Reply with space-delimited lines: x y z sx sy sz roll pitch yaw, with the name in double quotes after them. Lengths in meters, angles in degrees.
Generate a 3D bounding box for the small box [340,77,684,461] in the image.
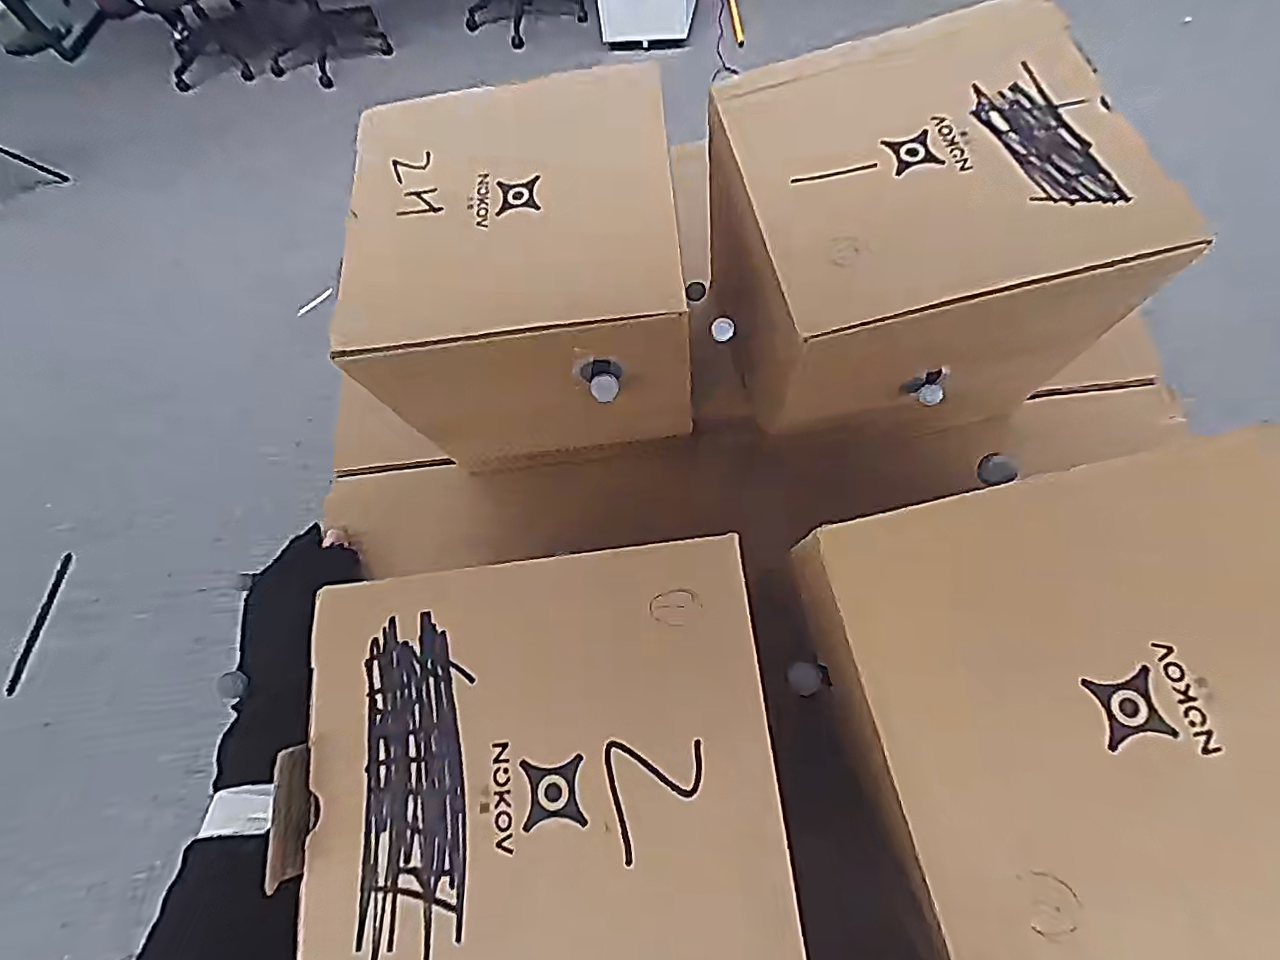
-0.062 -0.122 0.368 0.179 0.176 0.168 -5 70 6 "small box"
